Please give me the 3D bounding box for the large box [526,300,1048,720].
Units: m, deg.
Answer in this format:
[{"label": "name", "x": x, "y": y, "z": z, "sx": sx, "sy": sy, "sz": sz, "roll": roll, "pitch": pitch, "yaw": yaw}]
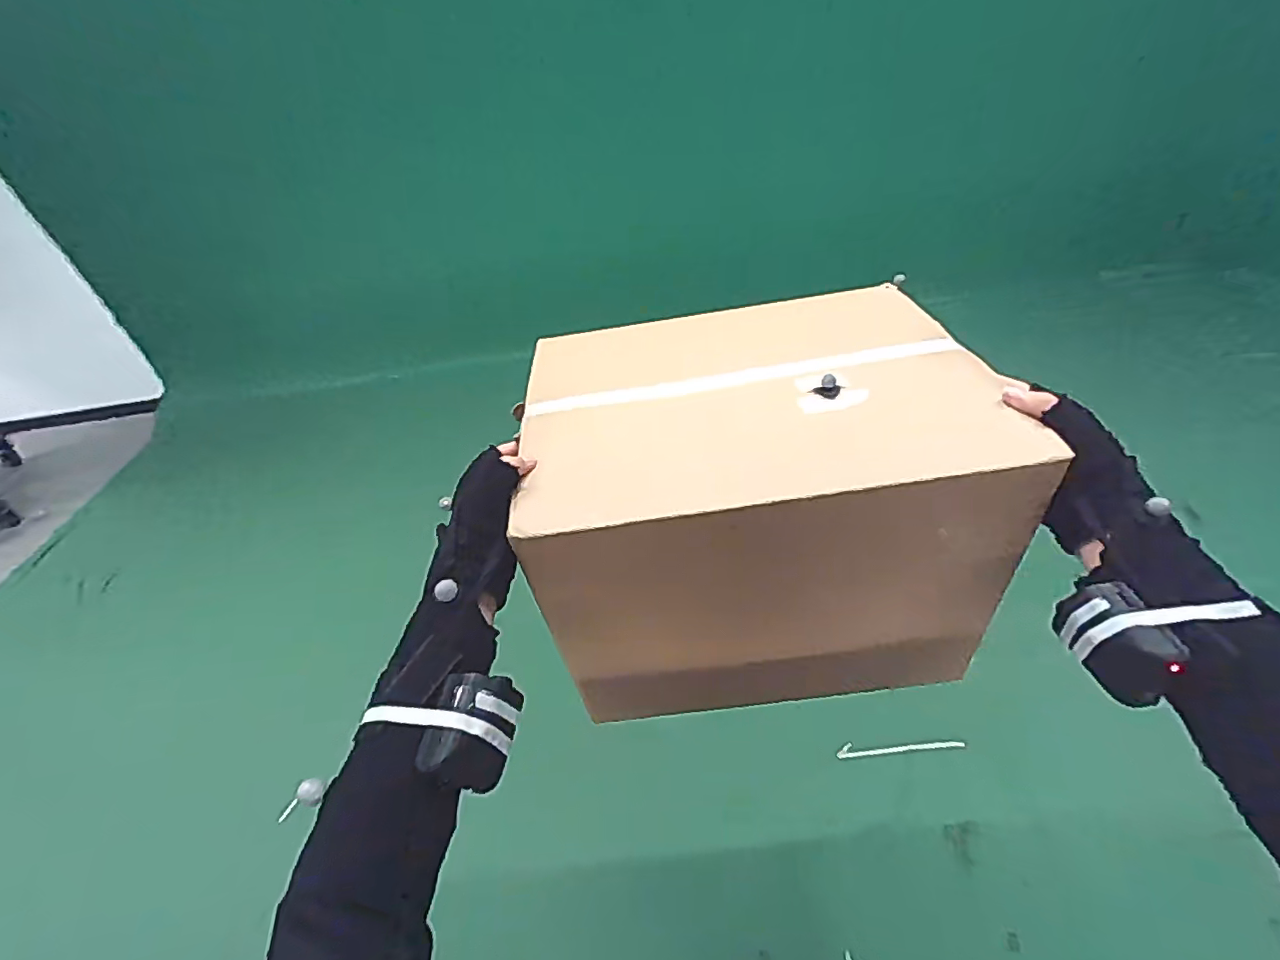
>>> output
[{"label": "large box", "x": 0.114, "y": 0.031, "z": 0.609, "sx": 0.408, "sy": 0.320, "sz": 0.320, "roll": -8, "pitch": 42, "yaw": 2}]
